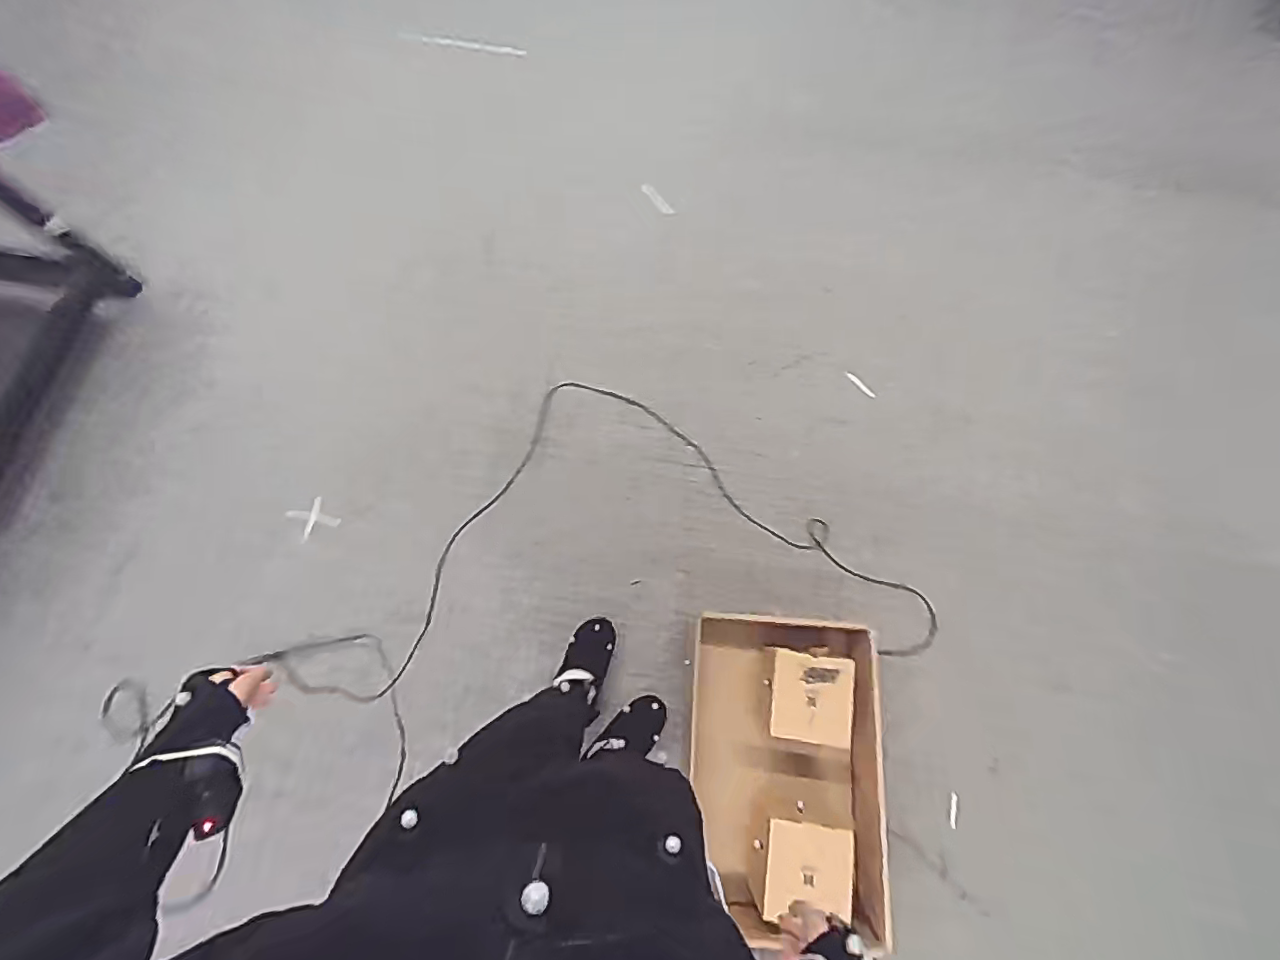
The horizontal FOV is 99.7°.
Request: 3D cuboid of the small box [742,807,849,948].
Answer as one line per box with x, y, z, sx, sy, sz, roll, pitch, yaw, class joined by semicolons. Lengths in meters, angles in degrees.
0.310;0.791;1.099;0.168;0.176;0.179;10;72;3;small box
